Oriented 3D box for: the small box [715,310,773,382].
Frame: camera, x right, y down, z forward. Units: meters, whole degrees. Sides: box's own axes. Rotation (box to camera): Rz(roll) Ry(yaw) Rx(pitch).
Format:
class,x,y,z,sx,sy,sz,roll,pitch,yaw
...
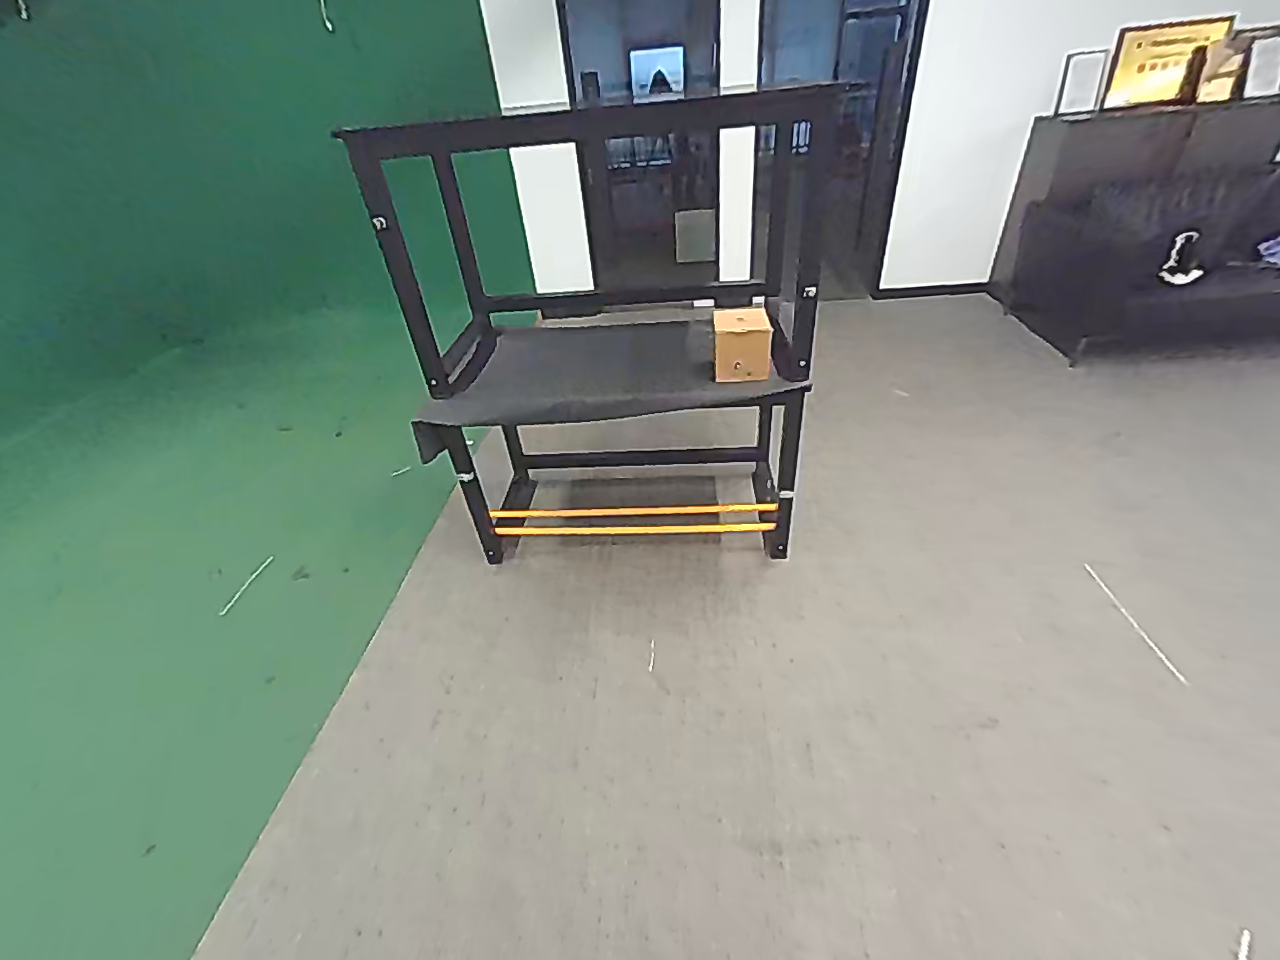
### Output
class,x,y,z,sx,sy,sz,roll,pitch,yaw
small box,0.320,-0.419,1.695,0.168,0.176,0.179,-3,36,6
